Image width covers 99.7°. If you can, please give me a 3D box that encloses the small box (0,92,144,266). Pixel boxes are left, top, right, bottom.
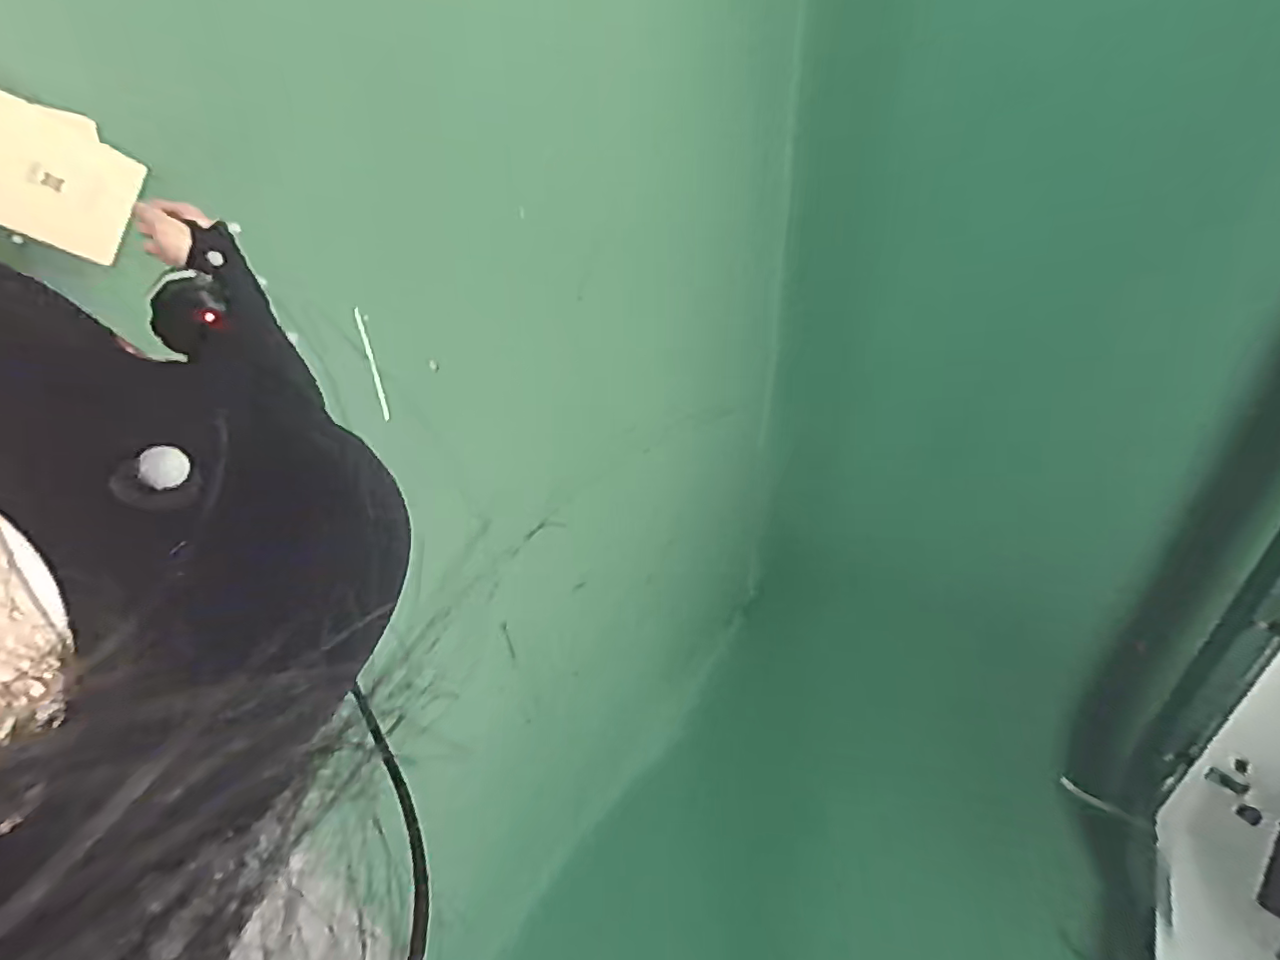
[{"bbox_3d":[-0.885,-0.436,0.791,0.179,0.176,0.168,20,91,-57],"label":"small box"}]
